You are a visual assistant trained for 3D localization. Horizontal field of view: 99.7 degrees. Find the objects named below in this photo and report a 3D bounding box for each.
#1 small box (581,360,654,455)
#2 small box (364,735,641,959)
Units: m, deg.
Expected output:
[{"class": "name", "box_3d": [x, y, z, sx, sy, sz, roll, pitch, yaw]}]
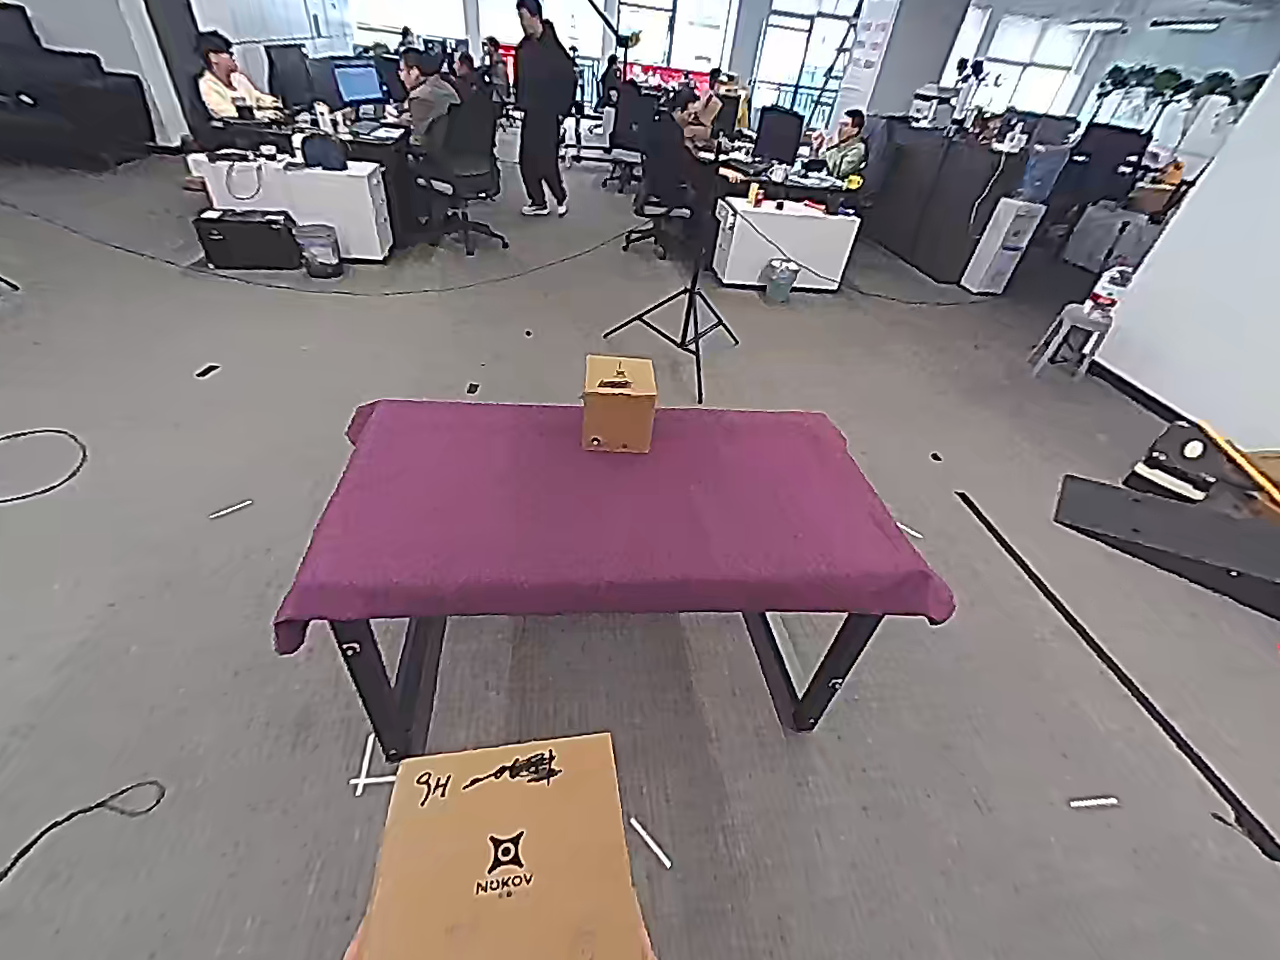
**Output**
[{"class": "small box", "box_3d": [-0.058, -0.178, 1.341, 0.168, 0.176, 0.179, 3, 40, -7]}, {"class": "small box", "box_3d": [-0.089, 0.327, 0.401, 0.168, 0.176, 0.179, -3, 32, -9]}]
